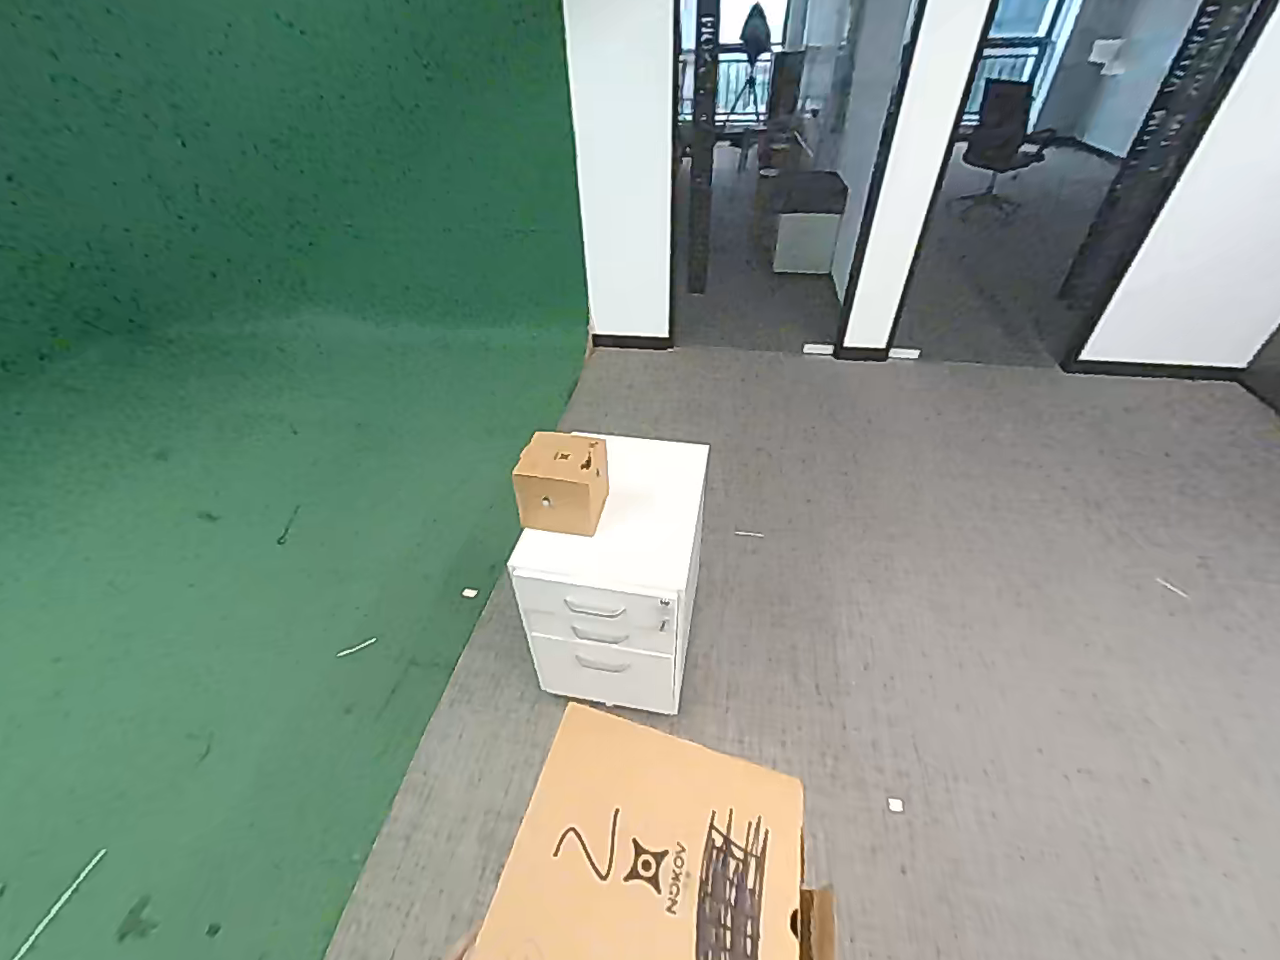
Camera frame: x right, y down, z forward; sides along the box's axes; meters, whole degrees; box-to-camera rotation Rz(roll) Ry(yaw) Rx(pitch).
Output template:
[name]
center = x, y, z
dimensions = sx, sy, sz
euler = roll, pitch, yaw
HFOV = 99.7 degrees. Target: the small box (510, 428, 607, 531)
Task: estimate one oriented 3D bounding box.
[small box]
center = -0.181, 0.001, 1.260
dimensions = 0.179, 0.176, 0.168
euler = 7, 42, 8
